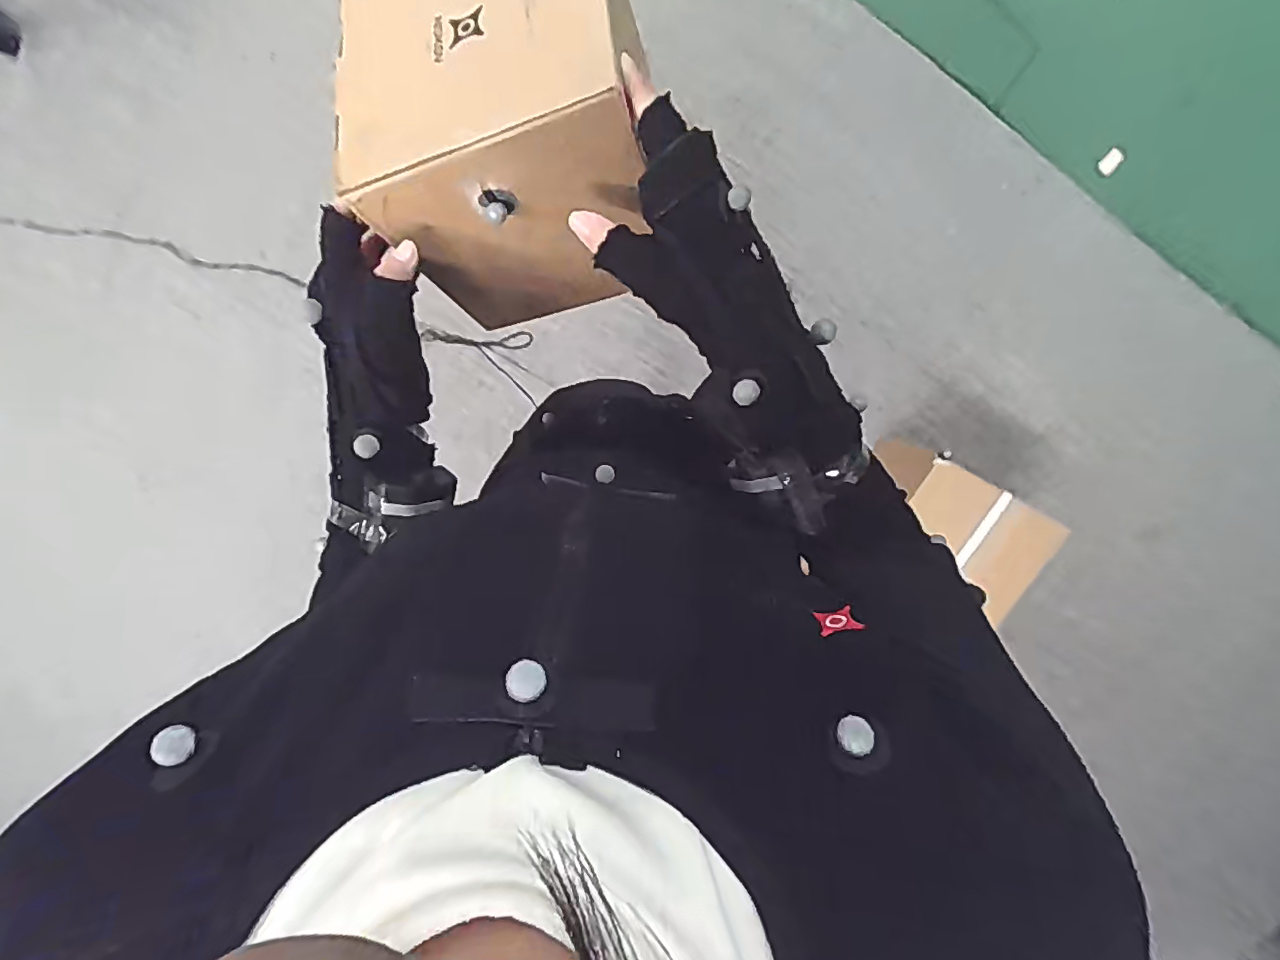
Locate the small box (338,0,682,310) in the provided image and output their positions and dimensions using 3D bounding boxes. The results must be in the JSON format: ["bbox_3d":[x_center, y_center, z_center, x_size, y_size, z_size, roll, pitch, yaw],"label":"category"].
[{"bbox_3d":[-0.080,-0.248,0.390,0.179,0.176,0.168,-11,75,14],"label":"small box"}]
